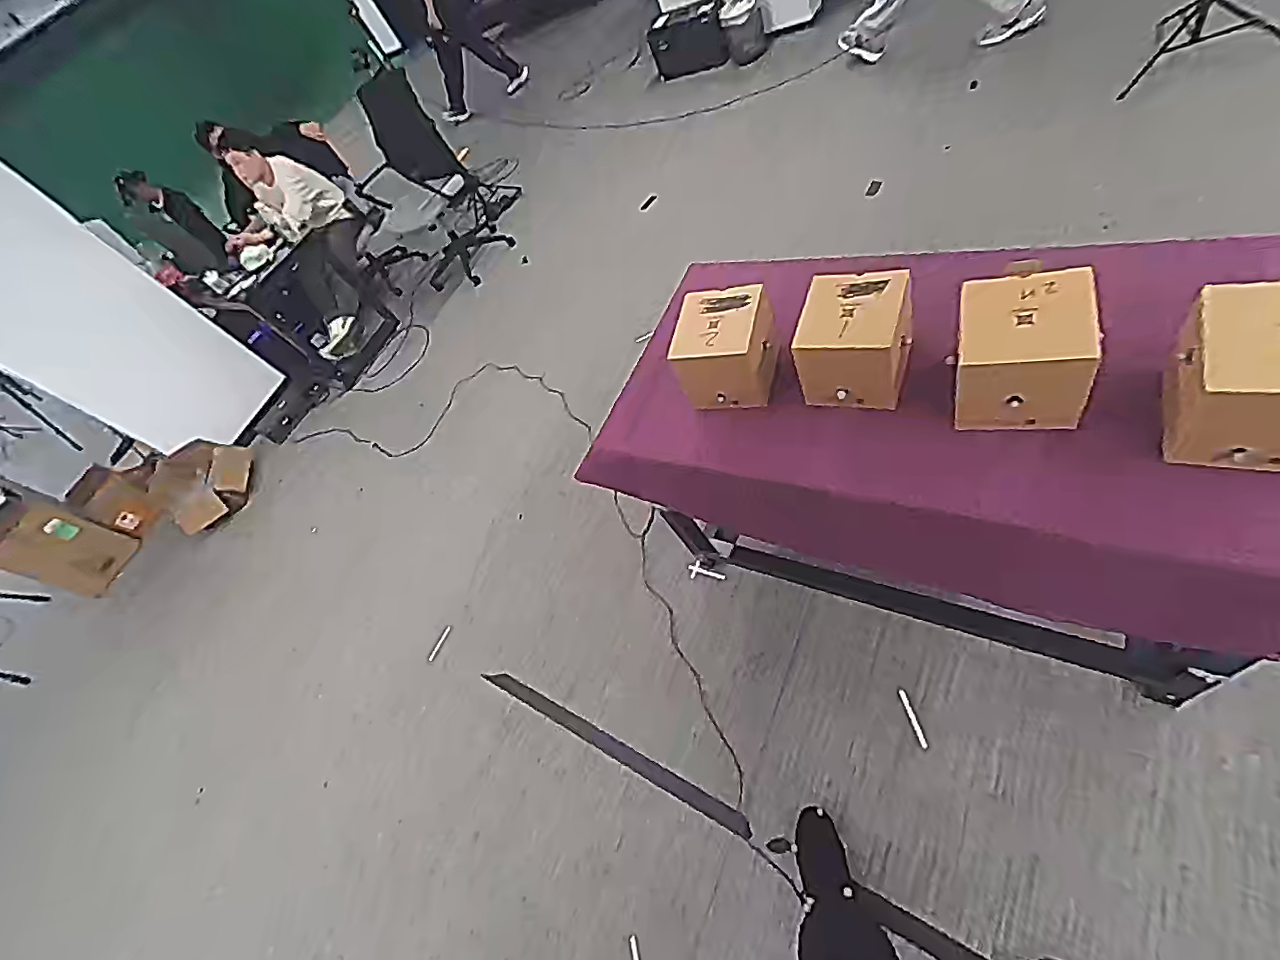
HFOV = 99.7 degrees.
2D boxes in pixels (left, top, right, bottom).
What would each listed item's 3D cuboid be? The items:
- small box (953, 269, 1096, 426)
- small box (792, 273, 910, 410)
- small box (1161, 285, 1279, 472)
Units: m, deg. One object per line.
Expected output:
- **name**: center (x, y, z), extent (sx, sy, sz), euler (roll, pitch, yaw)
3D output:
- **small box**: center (0.598, -0.198, 0.858), extent (0.168, 0.176, 0.179), euler (3, 60, 29)
- **small box**: center (0.397, -0.253, 1.003), extent (0.168, 0.176, 0.179), euler (8, 64, 32)
- **small box**: center (0.810, -0.130, 0.701), extent (0.168, 0.176, 0.179), euler (8, 63, 33)
